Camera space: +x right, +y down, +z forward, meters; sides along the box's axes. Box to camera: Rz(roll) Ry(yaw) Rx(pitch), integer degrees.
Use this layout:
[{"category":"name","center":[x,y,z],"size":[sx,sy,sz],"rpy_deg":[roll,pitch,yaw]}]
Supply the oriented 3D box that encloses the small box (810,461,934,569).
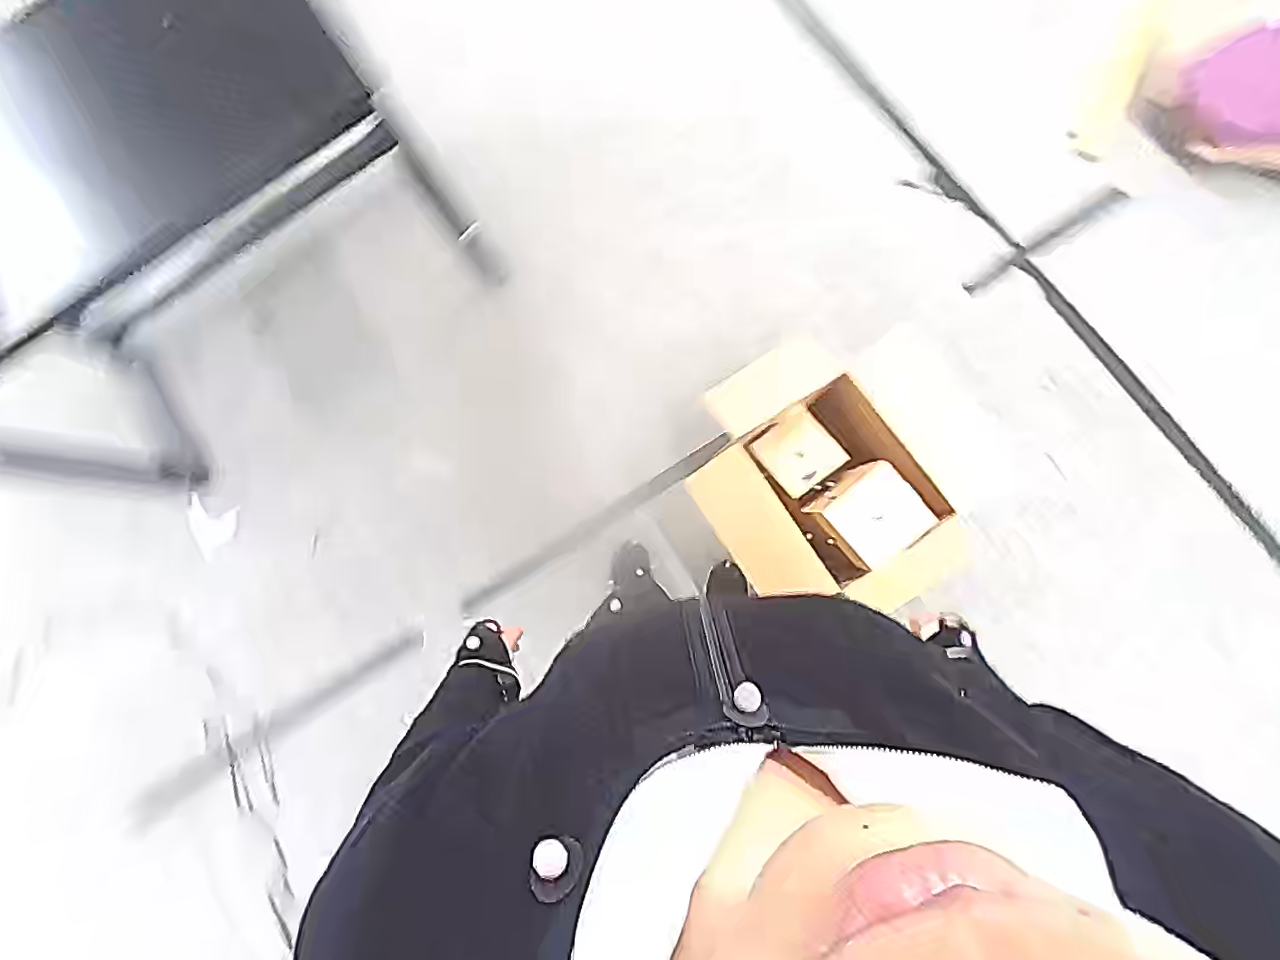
[{"category":"small box","center":[0.506,0.079,1.216],"size":[0.179,0.176,0.168],"rpy_deg":[-38,85,0]}]
